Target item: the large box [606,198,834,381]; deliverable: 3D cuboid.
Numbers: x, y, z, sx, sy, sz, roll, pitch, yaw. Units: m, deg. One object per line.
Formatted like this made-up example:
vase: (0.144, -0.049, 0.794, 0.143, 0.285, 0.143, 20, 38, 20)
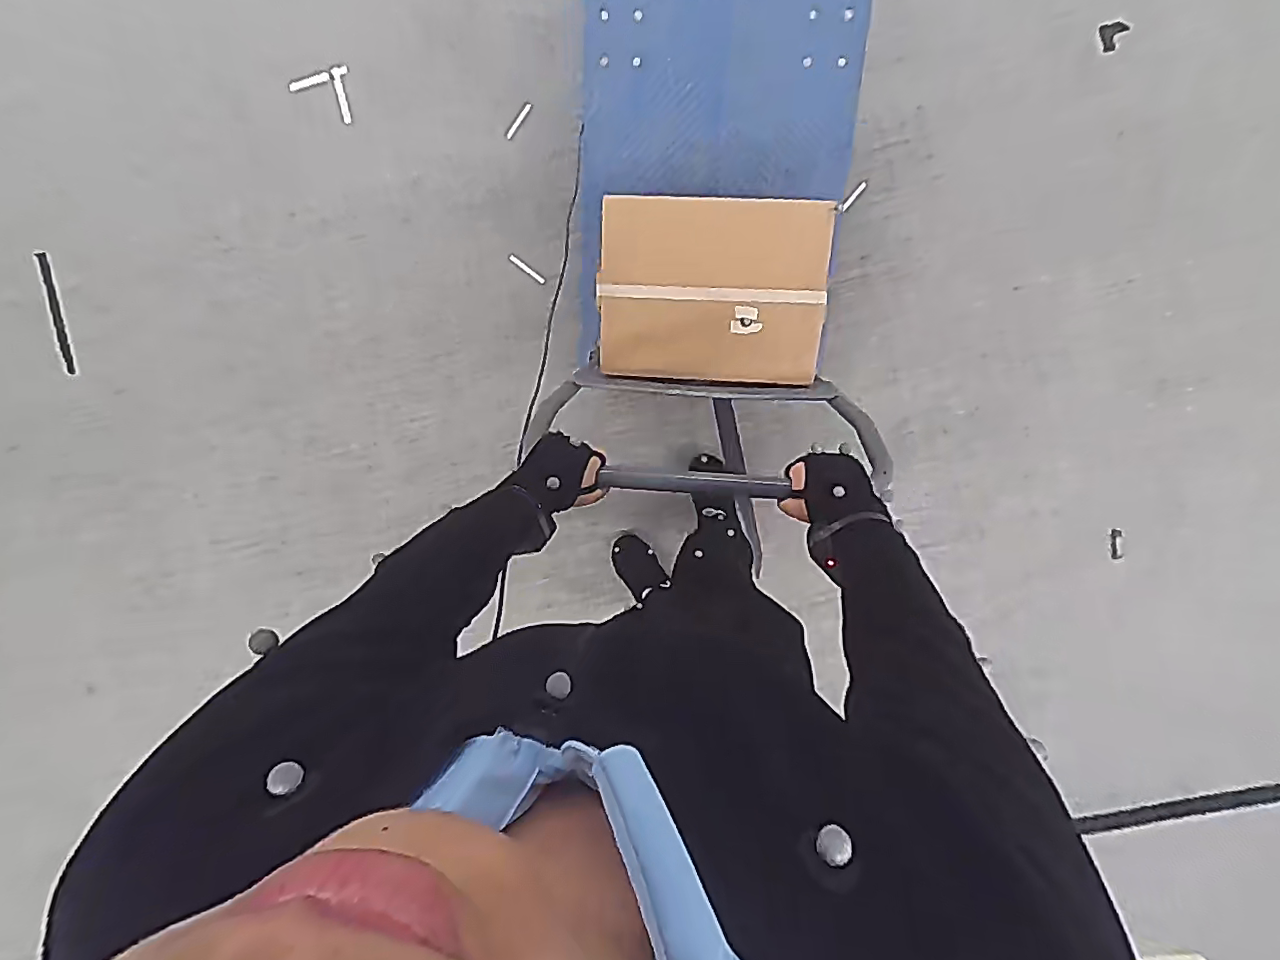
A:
large box: (0.146, -0.386, 1.132, 0.408, 0.320, 0.320, 3, 108, 4)
